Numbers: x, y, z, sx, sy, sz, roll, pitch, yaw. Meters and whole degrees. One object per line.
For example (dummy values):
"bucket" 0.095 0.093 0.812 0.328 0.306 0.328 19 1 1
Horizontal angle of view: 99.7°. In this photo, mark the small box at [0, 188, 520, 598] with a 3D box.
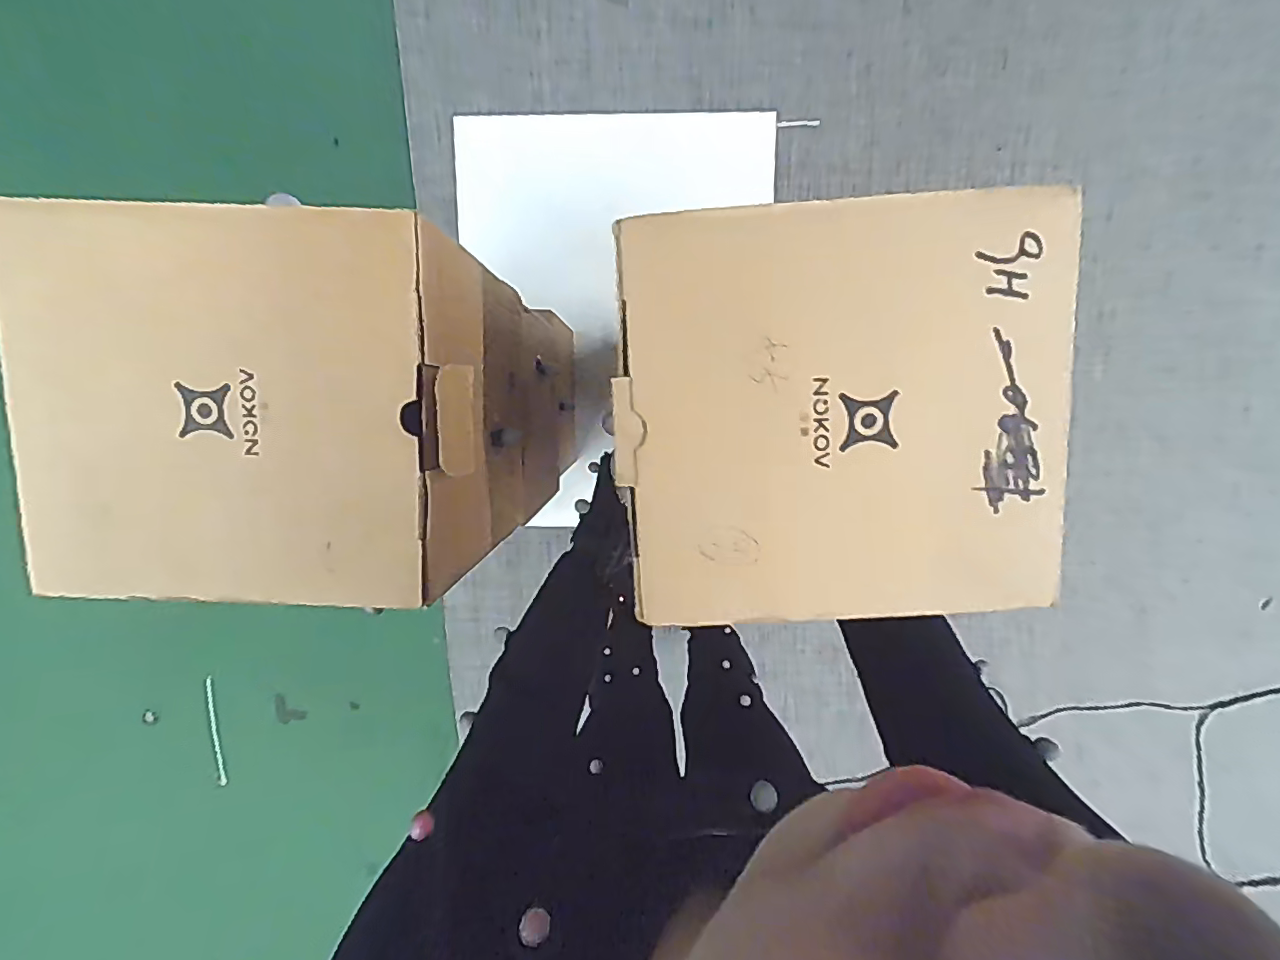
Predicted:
"small box" -0.174 -0.042 0.304 0.179 0.176 0.168 2 98 0

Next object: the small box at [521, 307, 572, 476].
"small box" -0.169 -0.098 0.625 0.168 0.176 0.179 0 98 -1

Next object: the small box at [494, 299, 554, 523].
"small box" -0.170 -0.060 0.467 0.179 0.176 0.168 0 97 1
